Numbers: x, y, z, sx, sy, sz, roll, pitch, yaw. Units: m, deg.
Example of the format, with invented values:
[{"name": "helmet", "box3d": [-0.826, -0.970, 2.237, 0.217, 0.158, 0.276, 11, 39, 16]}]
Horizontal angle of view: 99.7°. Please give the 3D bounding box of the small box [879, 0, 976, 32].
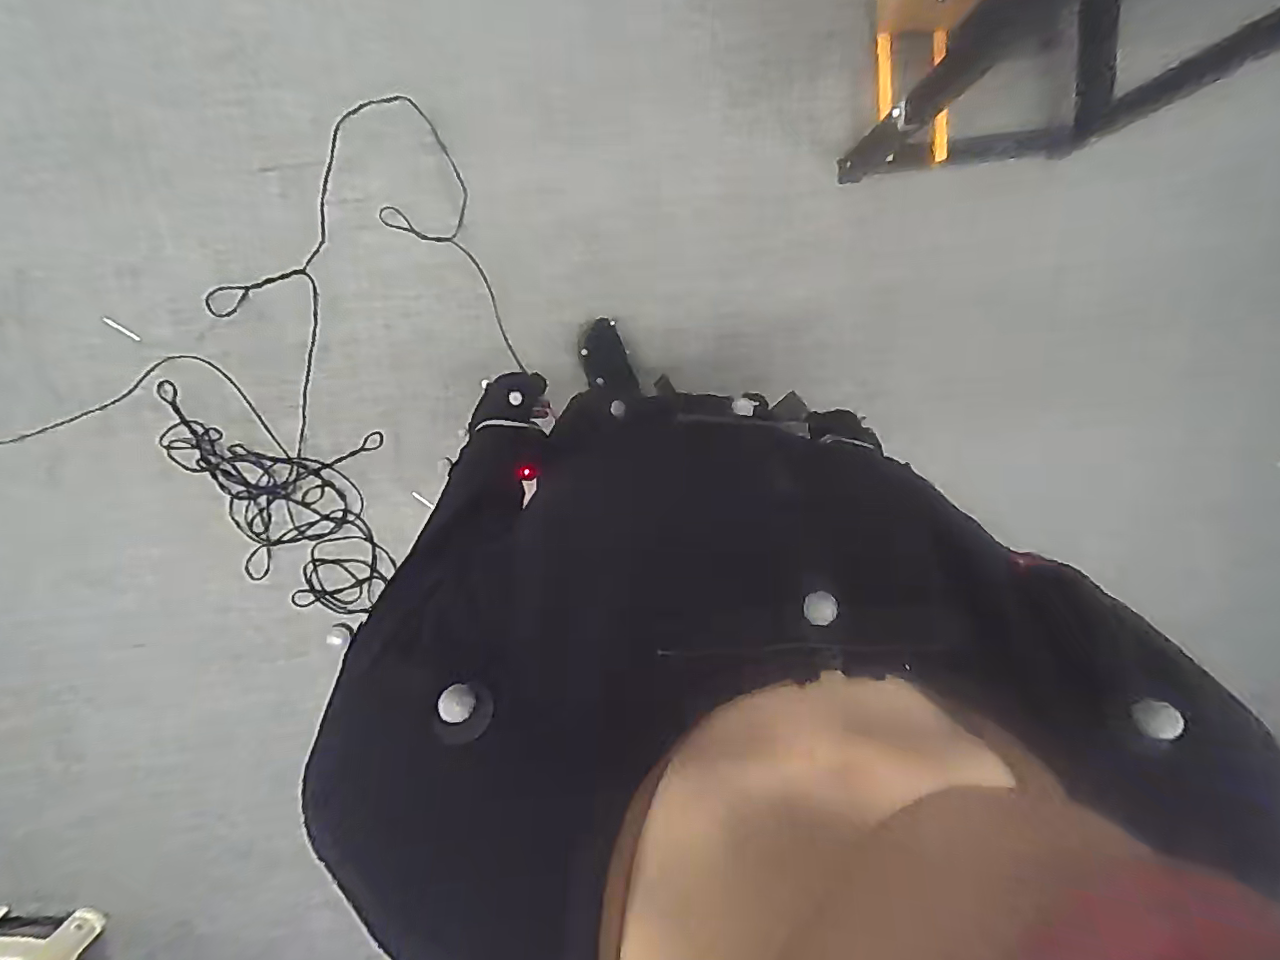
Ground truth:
[{"name": "small box", "box3d": [0.607, -1.056, 1.101, 0.179, 0.176, 0.168, -3, 101, -1]}]
